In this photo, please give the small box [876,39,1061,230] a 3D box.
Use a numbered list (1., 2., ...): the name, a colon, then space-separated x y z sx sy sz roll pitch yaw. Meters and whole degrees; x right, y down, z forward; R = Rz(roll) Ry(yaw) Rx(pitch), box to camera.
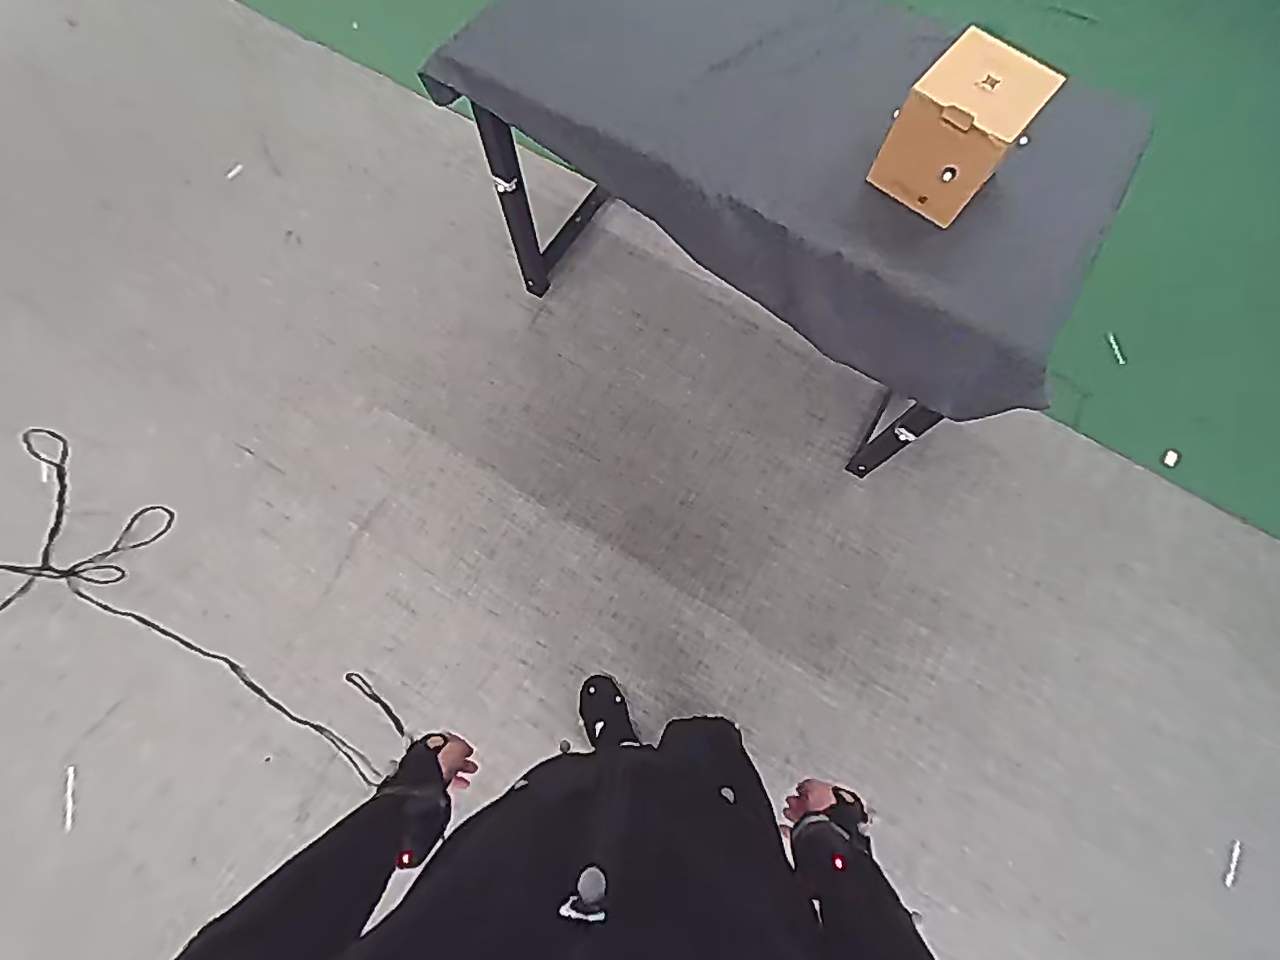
1. small box: 0.521 -0.556 0.888 0.168 0.176 0.179 40 75 9
